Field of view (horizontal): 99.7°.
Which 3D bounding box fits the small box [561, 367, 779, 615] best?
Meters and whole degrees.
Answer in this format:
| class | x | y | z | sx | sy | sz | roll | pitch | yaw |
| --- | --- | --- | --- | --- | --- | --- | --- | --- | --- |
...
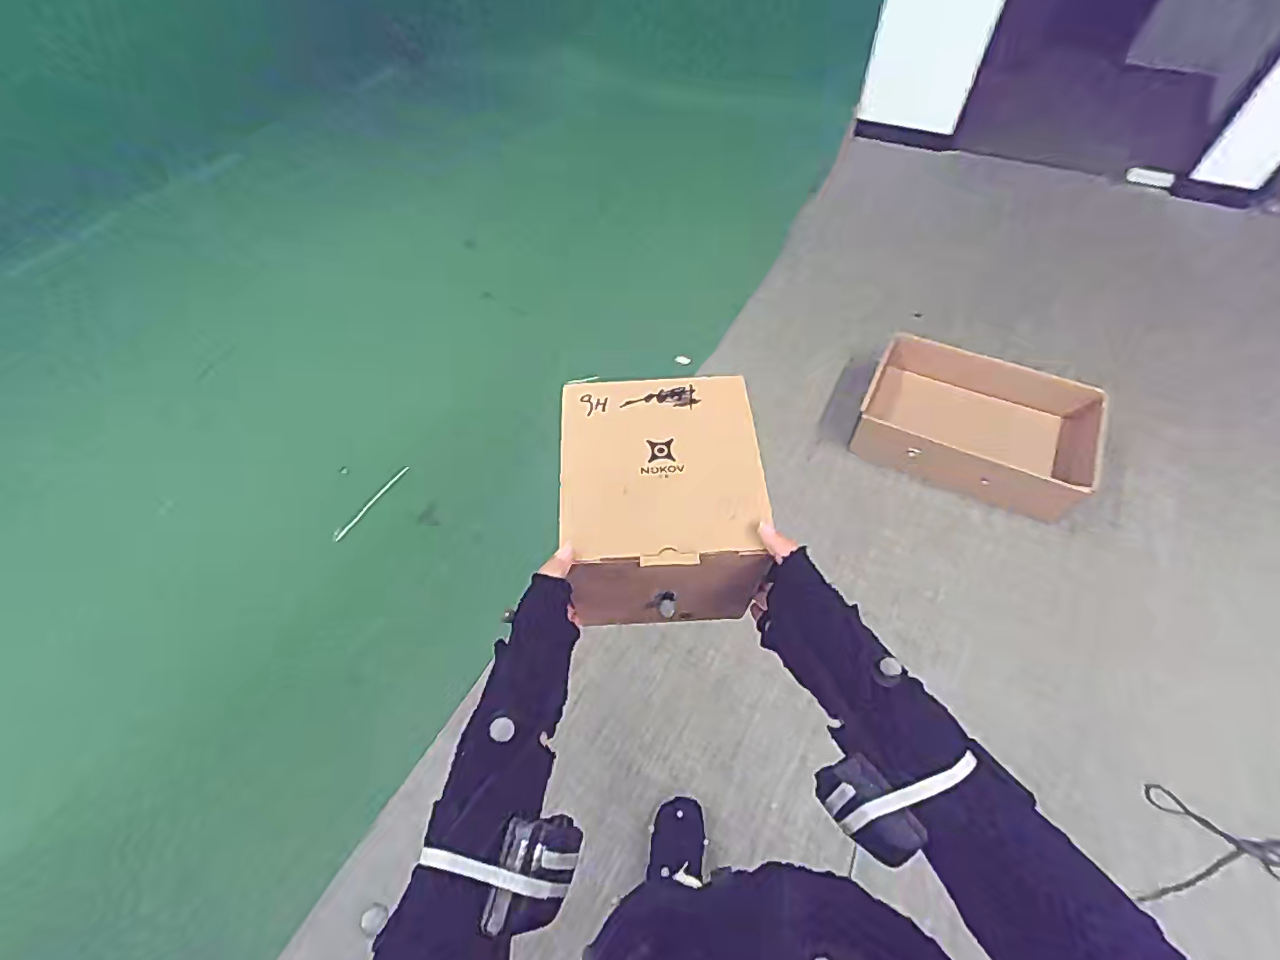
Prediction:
| class | x | y | z | sx | sy | sz | roll | pitch | yaw |
| --- | --- | --- | --- | --- | --- | --- | --- | --- | --- |
| small box | 0.021 | 0.021 | 0.513 | 0.168 | 0.176 | 0.179 | -6 | 59 | -2 |
